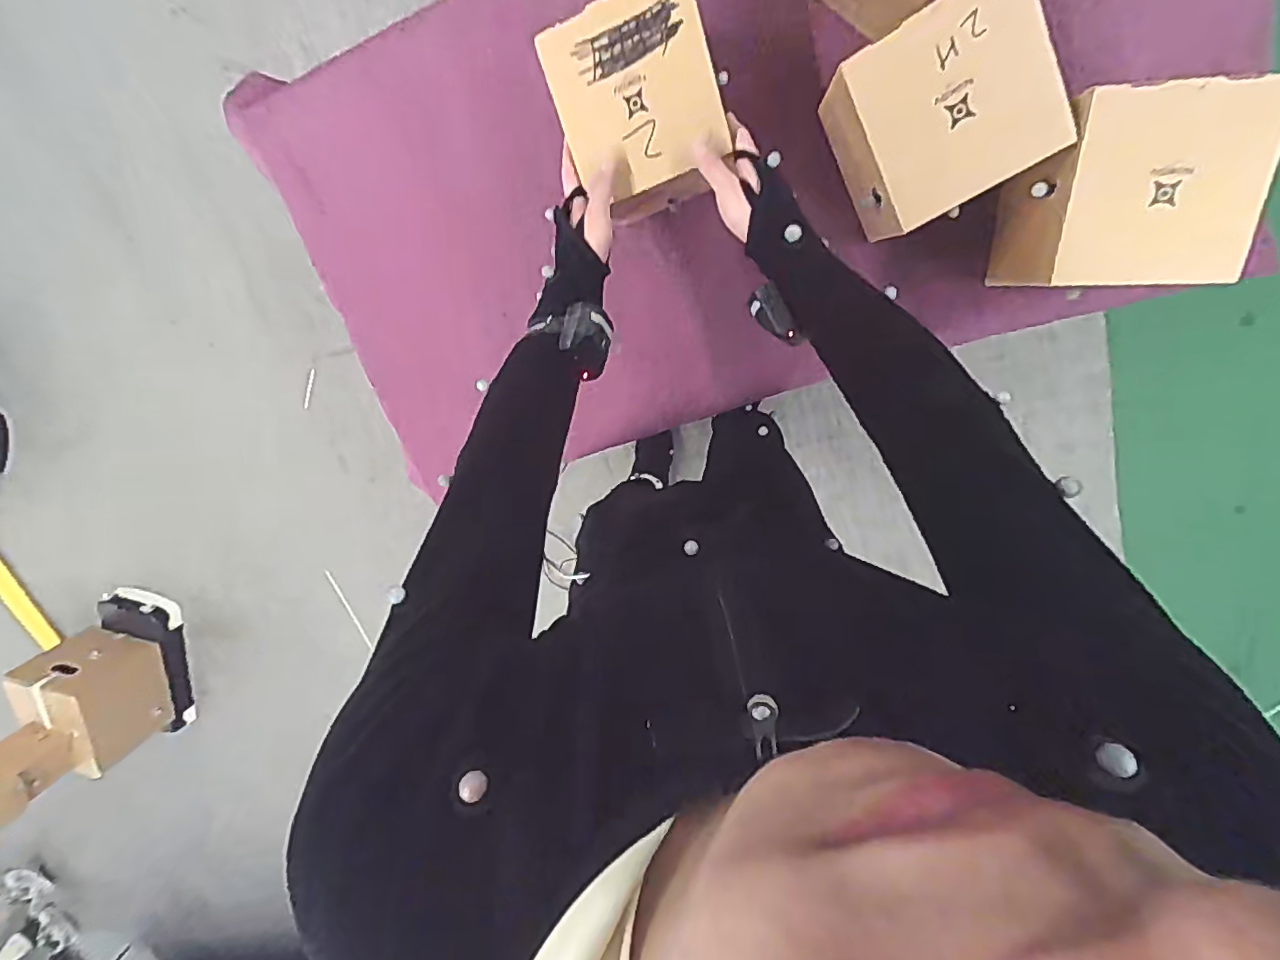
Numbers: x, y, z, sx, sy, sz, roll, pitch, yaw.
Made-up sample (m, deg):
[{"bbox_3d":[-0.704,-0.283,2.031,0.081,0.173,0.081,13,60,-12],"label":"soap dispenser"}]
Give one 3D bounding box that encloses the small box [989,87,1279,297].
[{"bbox_3d":[0.511,-0.292,0.587,0.168,0.176,0.179,3,109,10],"label":"small box"}]
